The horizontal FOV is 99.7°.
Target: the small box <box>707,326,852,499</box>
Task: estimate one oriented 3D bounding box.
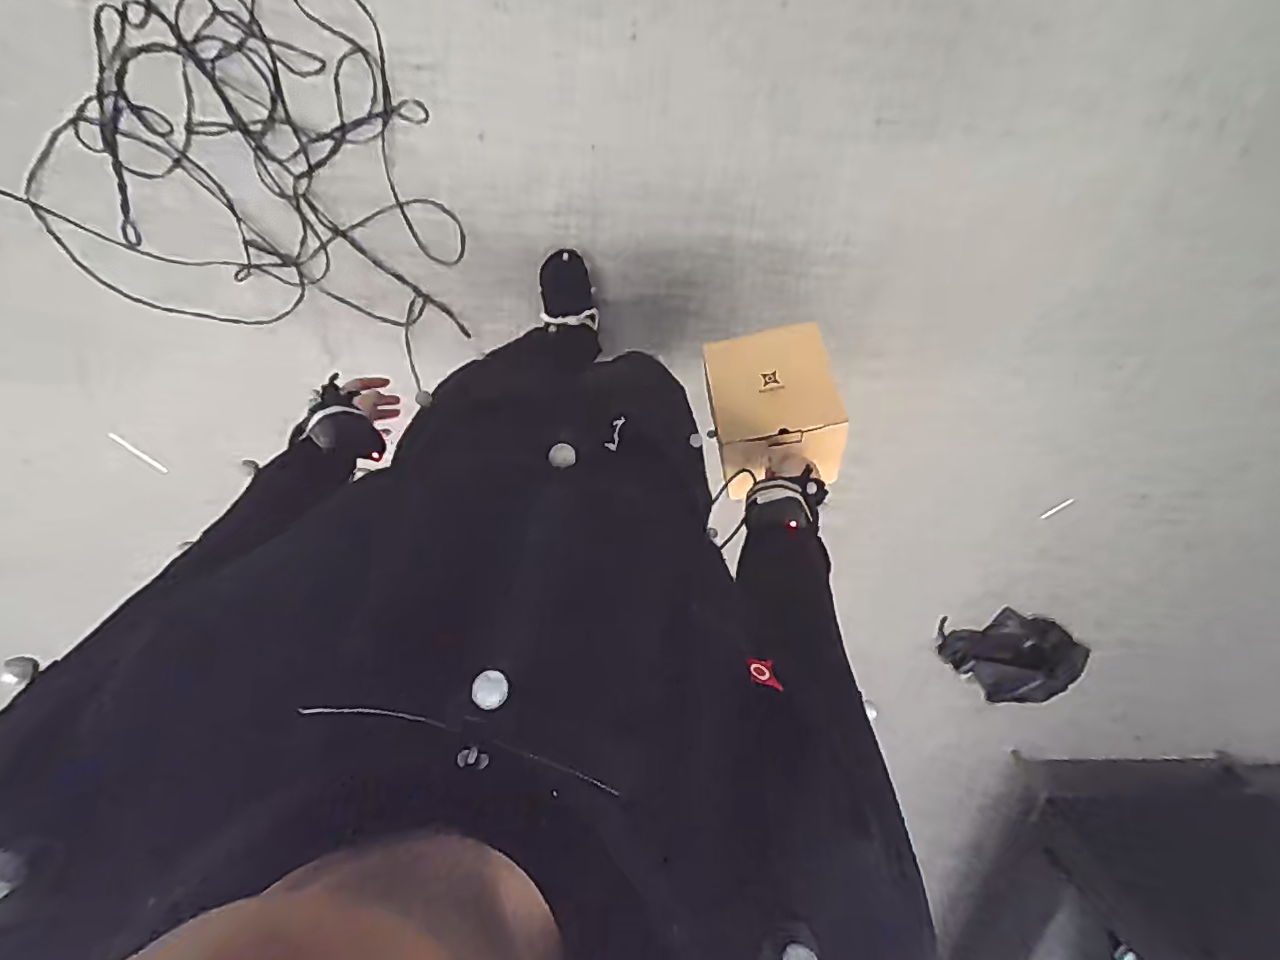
[{"bbox_3d":[0.195,-0.094,0.801,0.168,0.179,0.176,-10,151,6],"label":"small box"}]
